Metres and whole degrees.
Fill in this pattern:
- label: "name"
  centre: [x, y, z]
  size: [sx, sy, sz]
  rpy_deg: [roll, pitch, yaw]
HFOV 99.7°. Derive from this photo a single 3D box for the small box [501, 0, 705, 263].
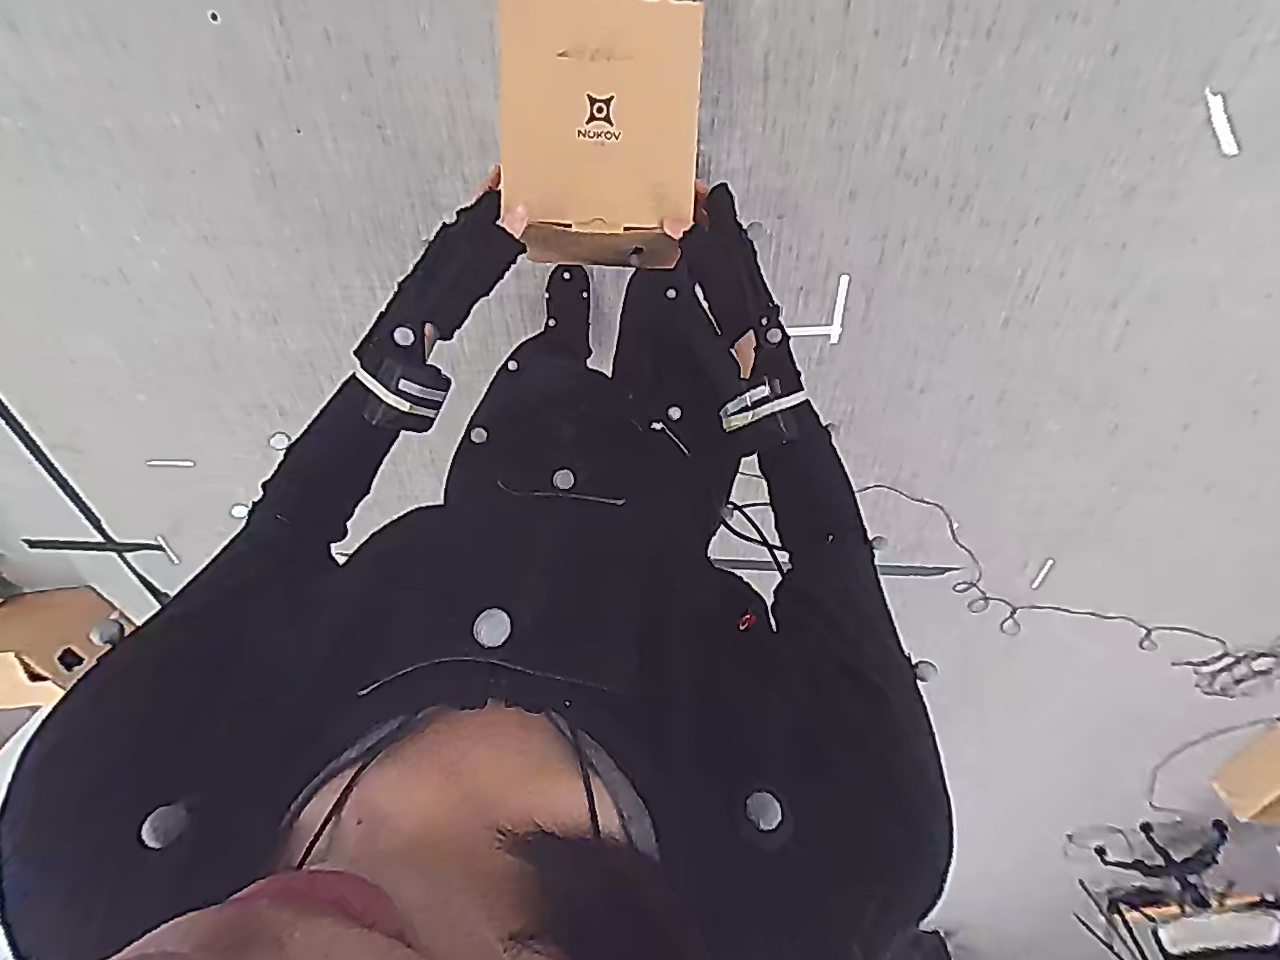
- label: "small box"
  centre: [-0.036, -0.318, 0.523]
  size: [0.168, 0.176, 0.179]
  rpy_deg: [1, 99, -4]
